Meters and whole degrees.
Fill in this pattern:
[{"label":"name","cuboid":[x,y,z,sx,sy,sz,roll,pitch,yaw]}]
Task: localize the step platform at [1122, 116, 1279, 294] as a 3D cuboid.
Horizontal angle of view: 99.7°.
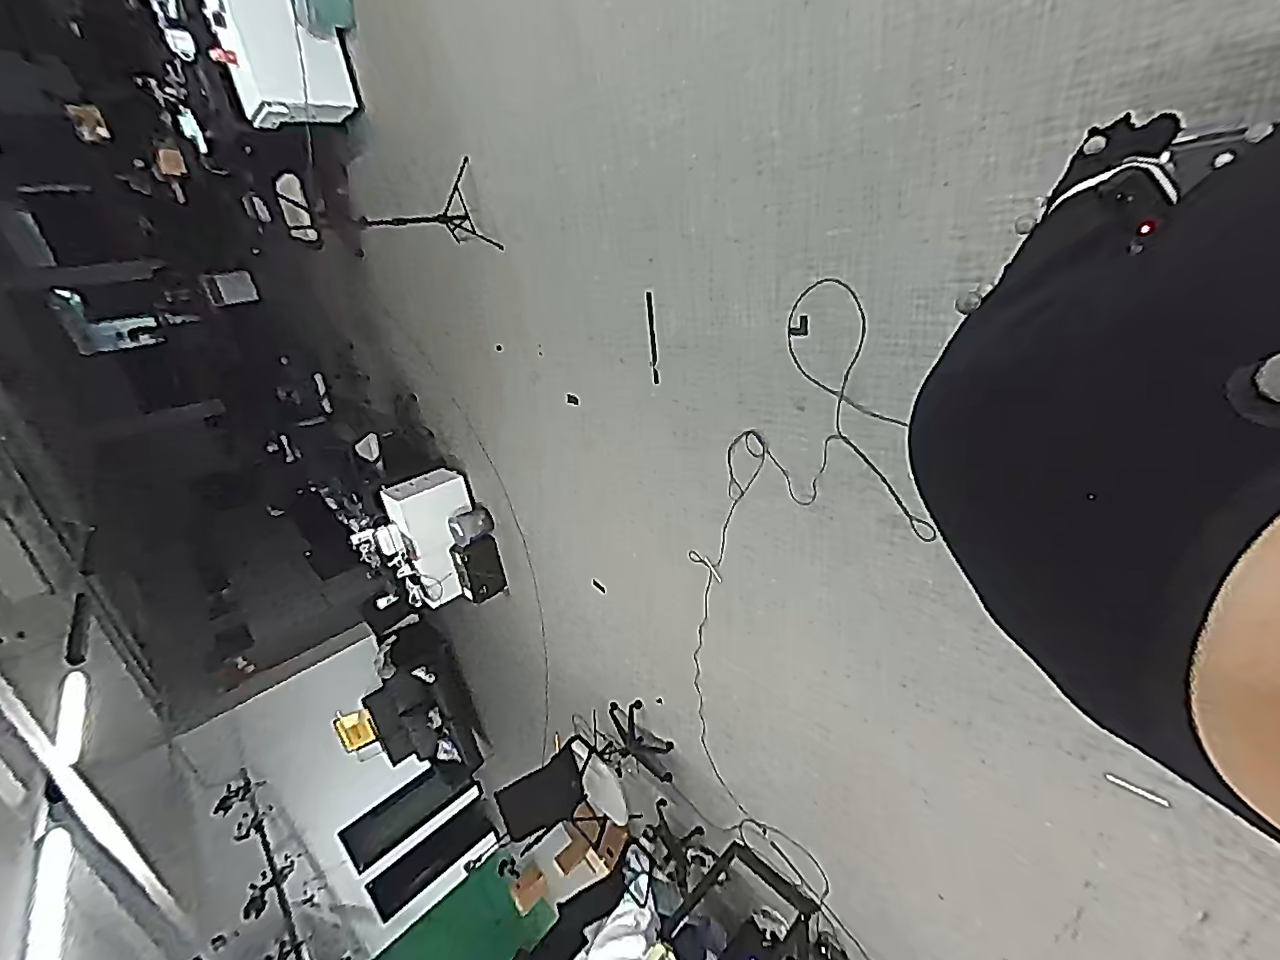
[{"label":"step platform","cuboid":[1.244,-0.476,0.880,0.684,0.204,0.286,14,122,44]}]
